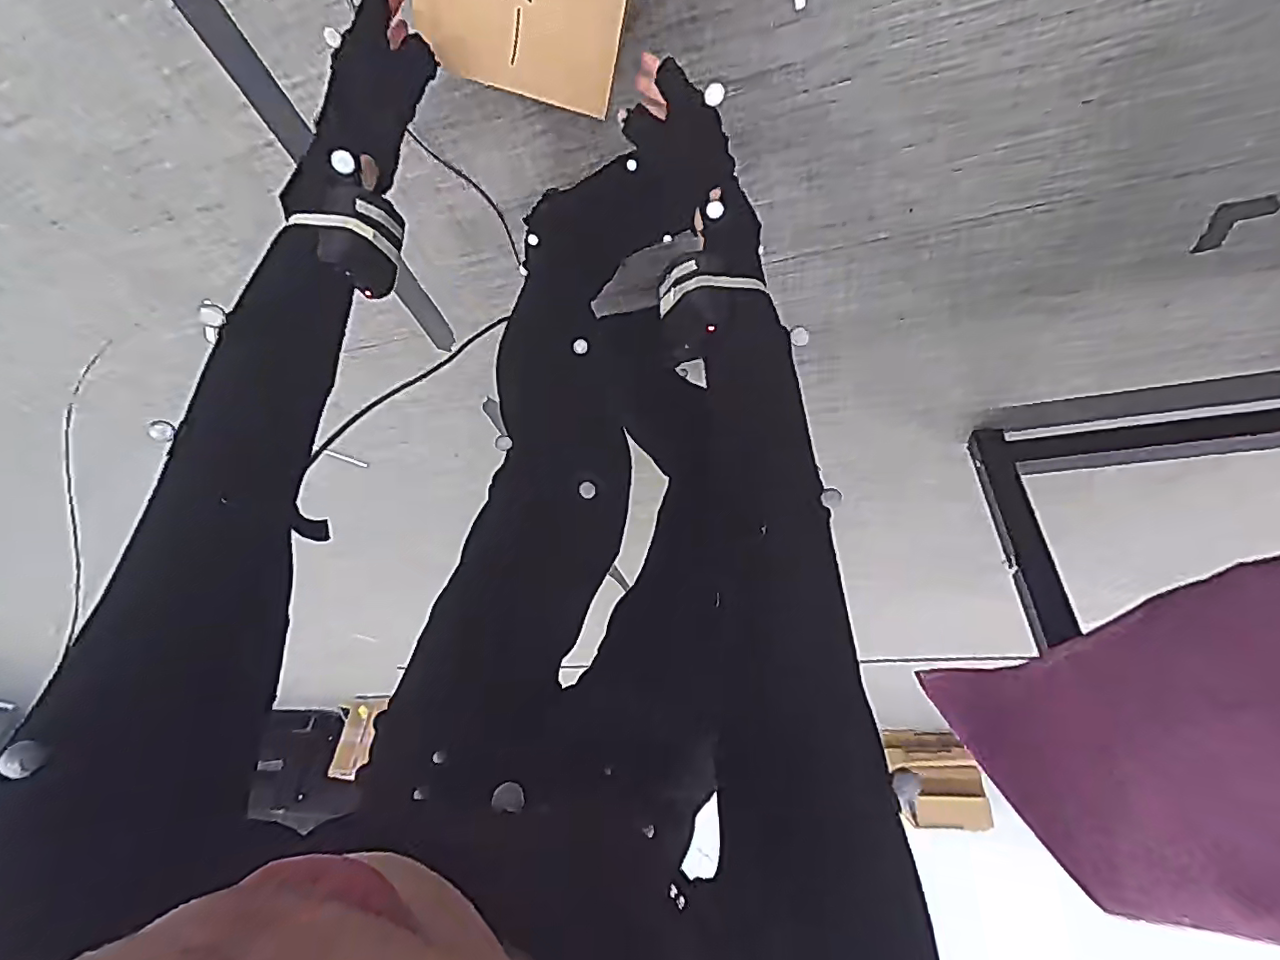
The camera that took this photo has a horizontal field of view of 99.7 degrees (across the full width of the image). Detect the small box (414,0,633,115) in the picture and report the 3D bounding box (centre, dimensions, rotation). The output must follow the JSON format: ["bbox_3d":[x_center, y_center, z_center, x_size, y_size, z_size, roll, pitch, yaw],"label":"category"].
[{"bbox_3d":[-0.079,-0.450,0.438,0.168,0.176,0.179,12,146,-10],"label":"small box"}]
